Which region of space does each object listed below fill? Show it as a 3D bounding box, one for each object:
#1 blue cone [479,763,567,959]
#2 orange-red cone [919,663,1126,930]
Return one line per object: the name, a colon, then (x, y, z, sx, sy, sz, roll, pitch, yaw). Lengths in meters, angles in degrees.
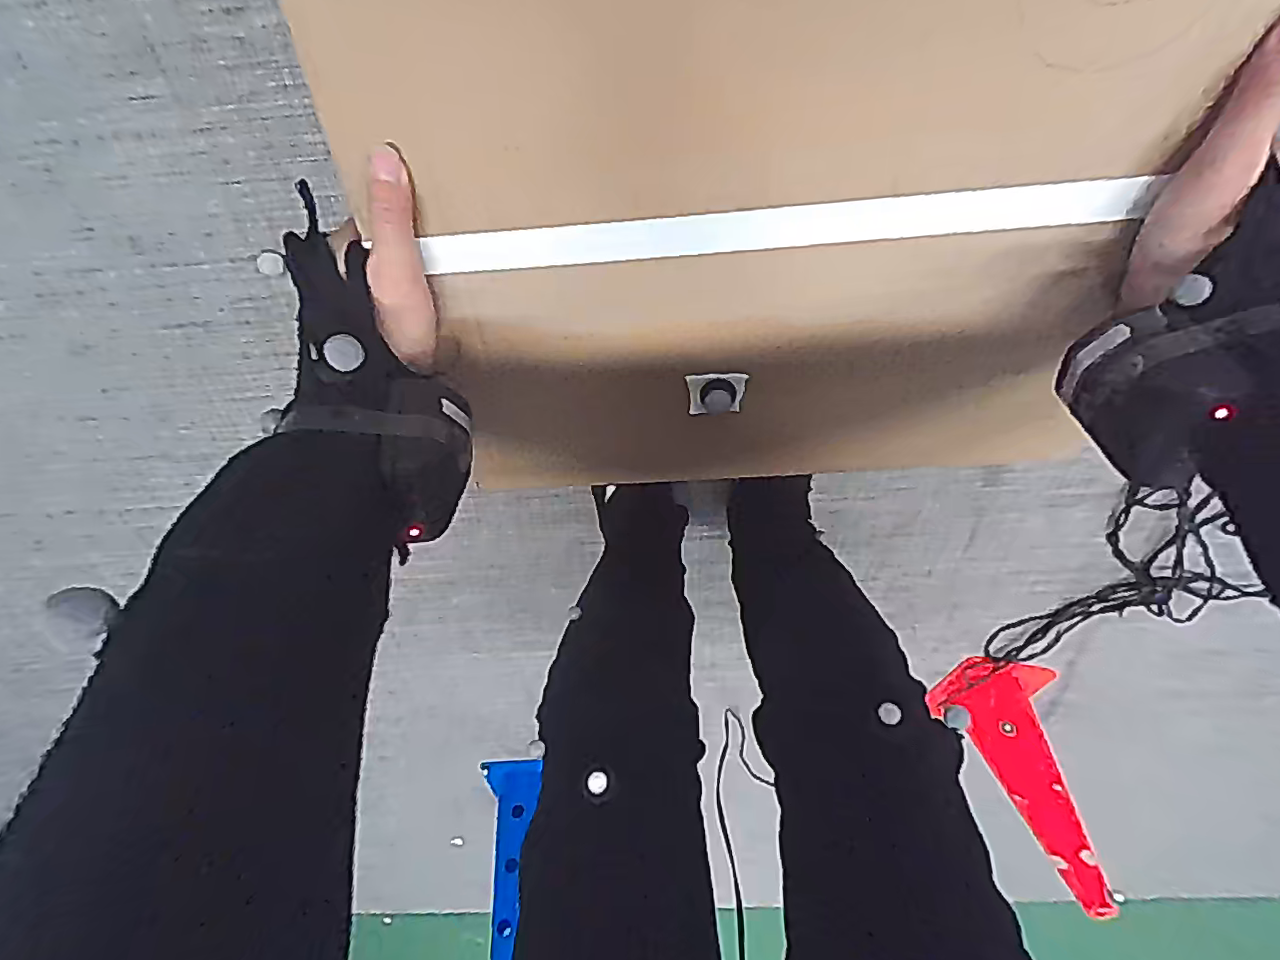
blue cone: (-0.277, 0.830, 1.163, 0.192, 0.380, 0.193, -2, 126, 3)
orange-red cone: (0.669, 0.521, 0.904, 0.199, 0.360, 0.198, 12, 127, -10)
